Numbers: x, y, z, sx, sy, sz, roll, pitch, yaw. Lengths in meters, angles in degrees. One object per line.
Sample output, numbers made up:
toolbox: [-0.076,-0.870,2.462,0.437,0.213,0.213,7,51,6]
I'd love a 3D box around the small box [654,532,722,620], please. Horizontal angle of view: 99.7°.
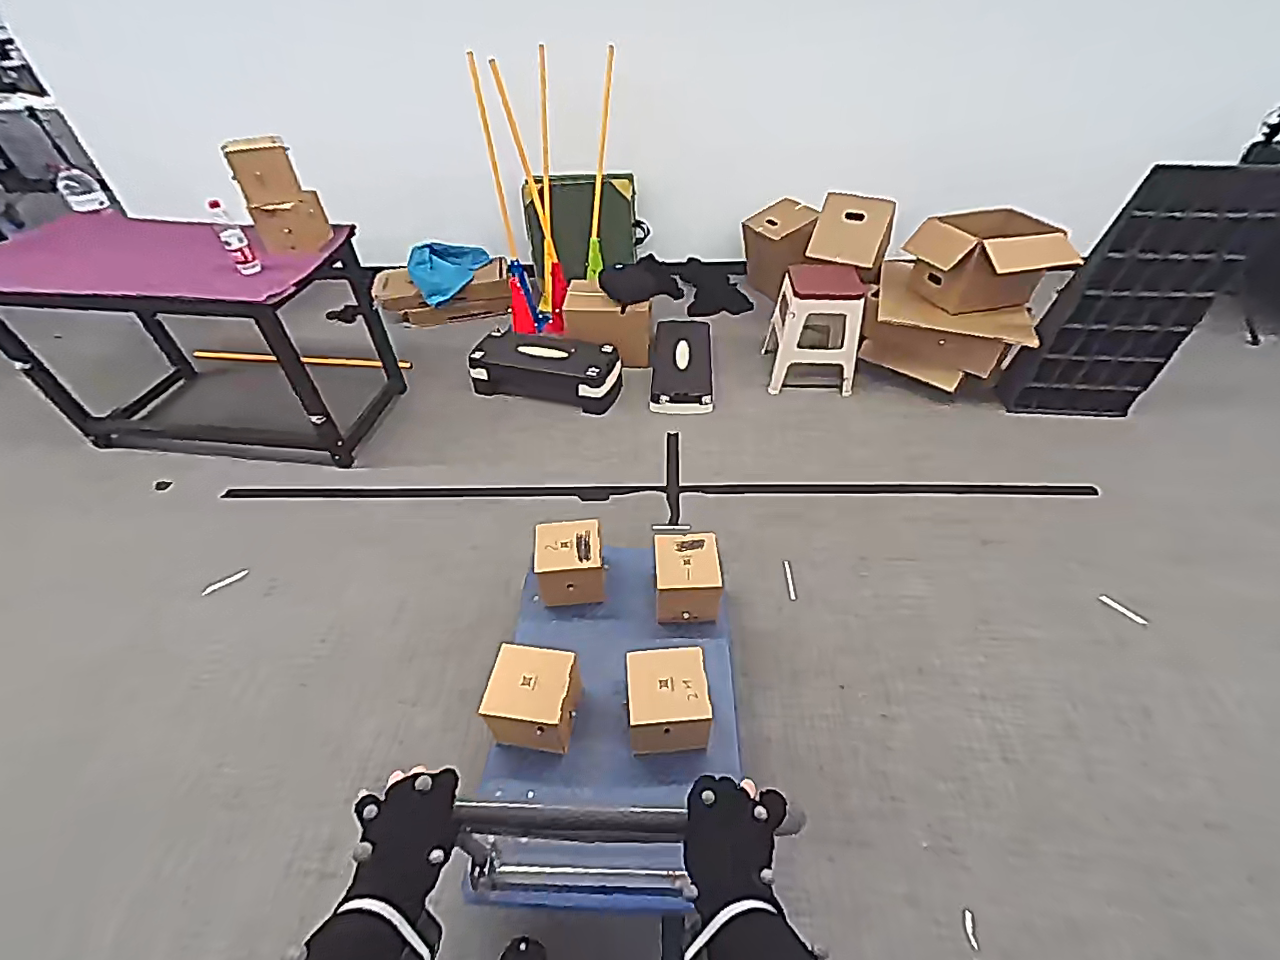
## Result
small box: [0.124,0.260,1.464,0.168,0.176,0.179,-2,46,0]

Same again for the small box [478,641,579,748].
small box: [-0.244,0.494,1.238,0.179,0.176,0.168,6,45,5]

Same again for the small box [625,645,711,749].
small box: [0.060,0.496,1.228,0.179,0.176,0.168,-3,45,-2]
